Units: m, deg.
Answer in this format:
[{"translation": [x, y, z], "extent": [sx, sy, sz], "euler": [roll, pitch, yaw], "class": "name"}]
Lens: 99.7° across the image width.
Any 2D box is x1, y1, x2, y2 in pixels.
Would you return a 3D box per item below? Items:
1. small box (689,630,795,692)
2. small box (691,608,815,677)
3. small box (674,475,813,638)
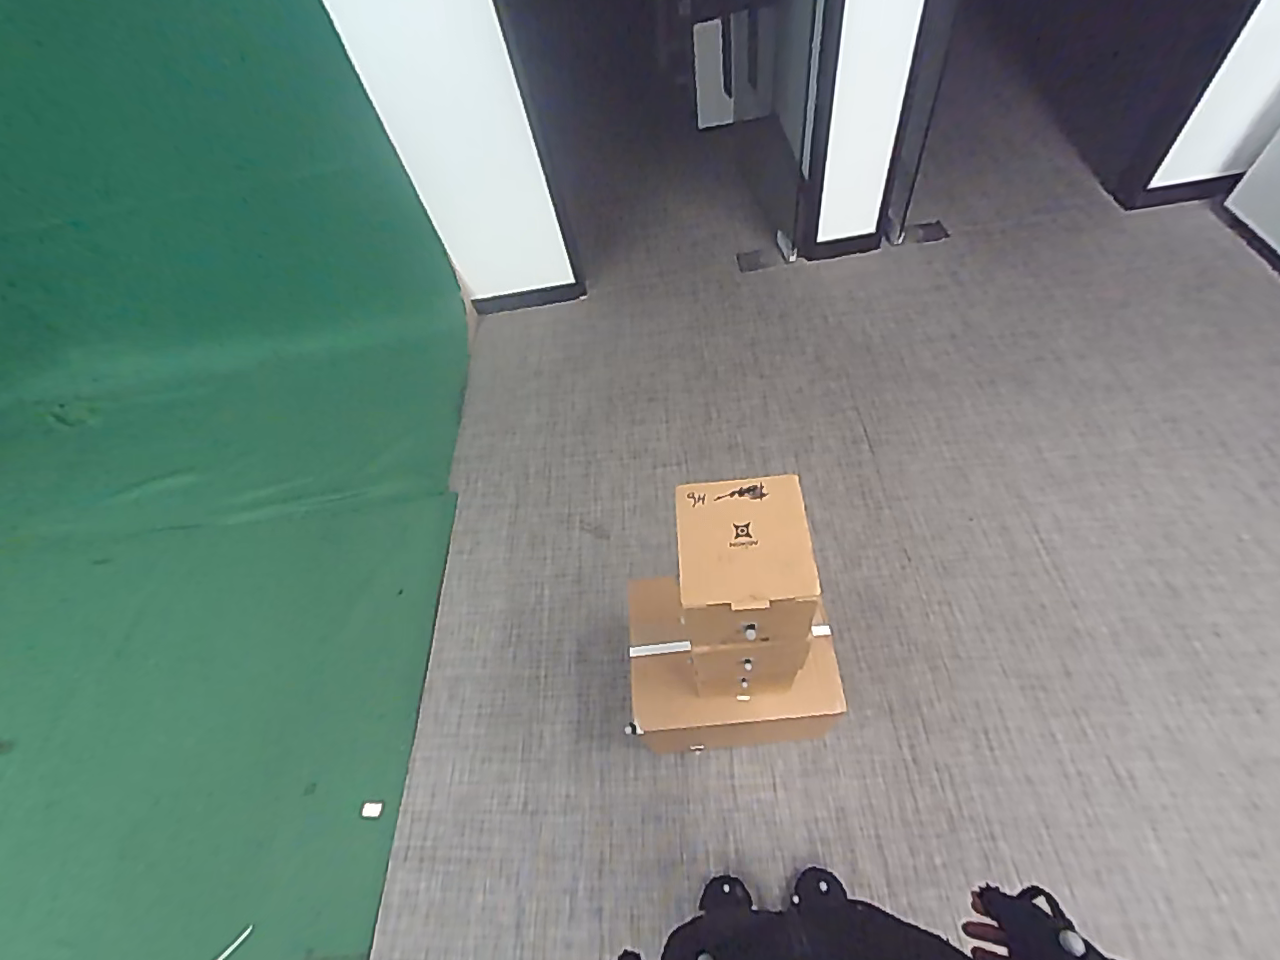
[{"translation": [0.185, 0.296, 1.019], "extent": [0.179, 0.176, 0.168], "euler": [-6, 57, 6], "class": "small box"}, {"translation": [0.167, 0.211, 0.880], "extent": [0.179, 0.176, 0.168], "euler": [-10, 57, 4], "class": "small box"}, {"translation": [0.139, 0.115, 0.750], "extent": [0.168, 0.176, 0.179], "euler": [-5, 57, 9], "class": "small box"}]
